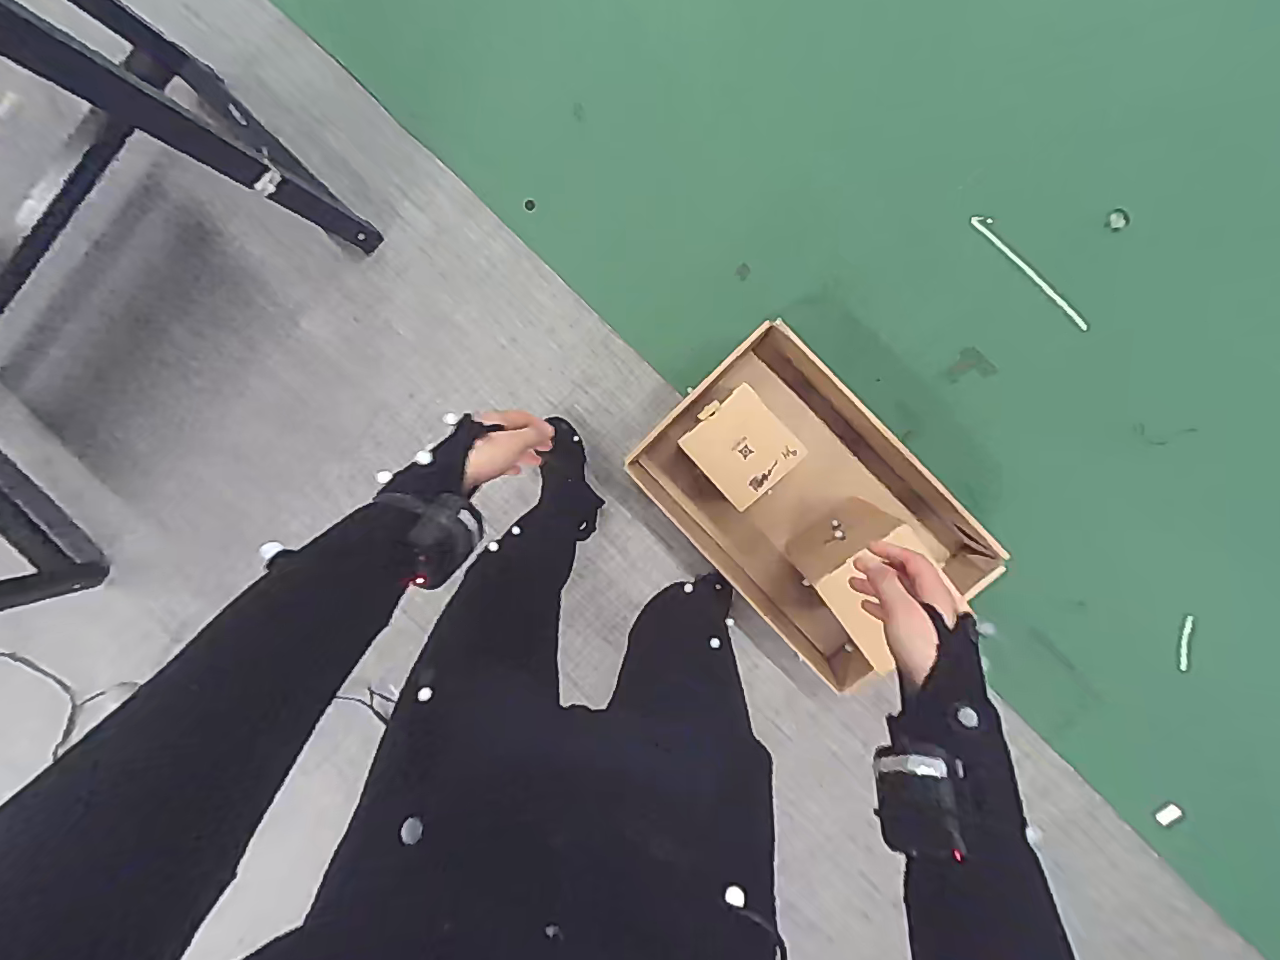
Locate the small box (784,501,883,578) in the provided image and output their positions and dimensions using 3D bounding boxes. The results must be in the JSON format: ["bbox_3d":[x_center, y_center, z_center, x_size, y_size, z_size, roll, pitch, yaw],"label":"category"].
[{"bbox_3d":[0.400,0.157,1.043,0.179,0.176,0.168,-37,90,9],"label":"small box"}]

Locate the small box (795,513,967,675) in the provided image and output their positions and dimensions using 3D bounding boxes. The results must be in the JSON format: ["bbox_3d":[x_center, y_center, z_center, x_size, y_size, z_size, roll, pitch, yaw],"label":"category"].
[{"bbox_3d":[0.378,0.174,0.881,0.168,0.176,0.179,-36,90,8],"label":"small box"}]
